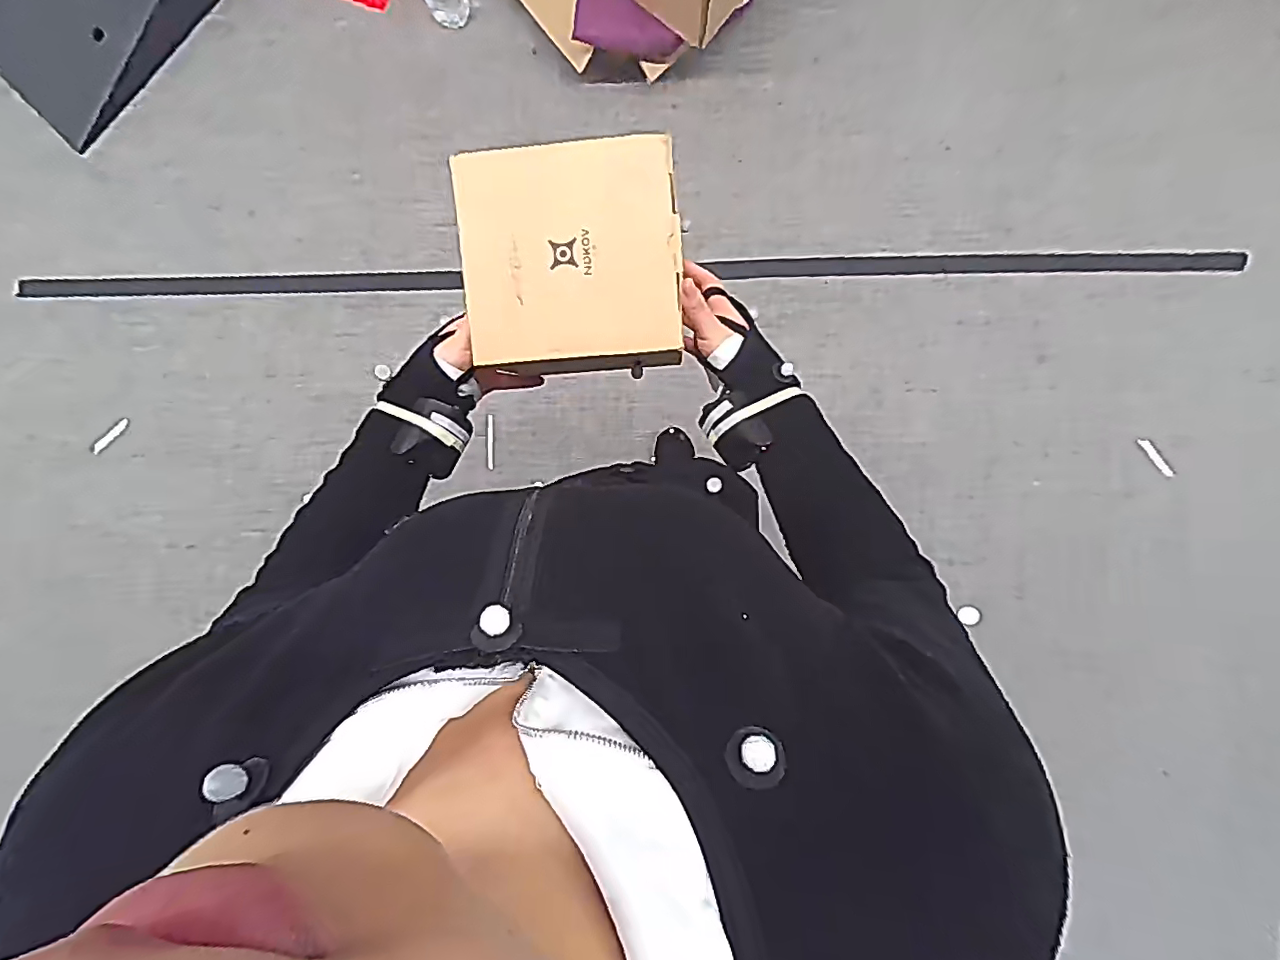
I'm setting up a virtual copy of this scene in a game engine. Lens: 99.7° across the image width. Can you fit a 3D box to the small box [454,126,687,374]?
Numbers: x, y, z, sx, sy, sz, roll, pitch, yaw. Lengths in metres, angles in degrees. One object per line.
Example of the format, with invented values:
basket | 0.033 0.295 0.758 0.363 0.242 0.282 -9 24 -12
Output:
small box | -0.049 -0.194 0.508 0.179 0.176 0.168 -4 96 6
